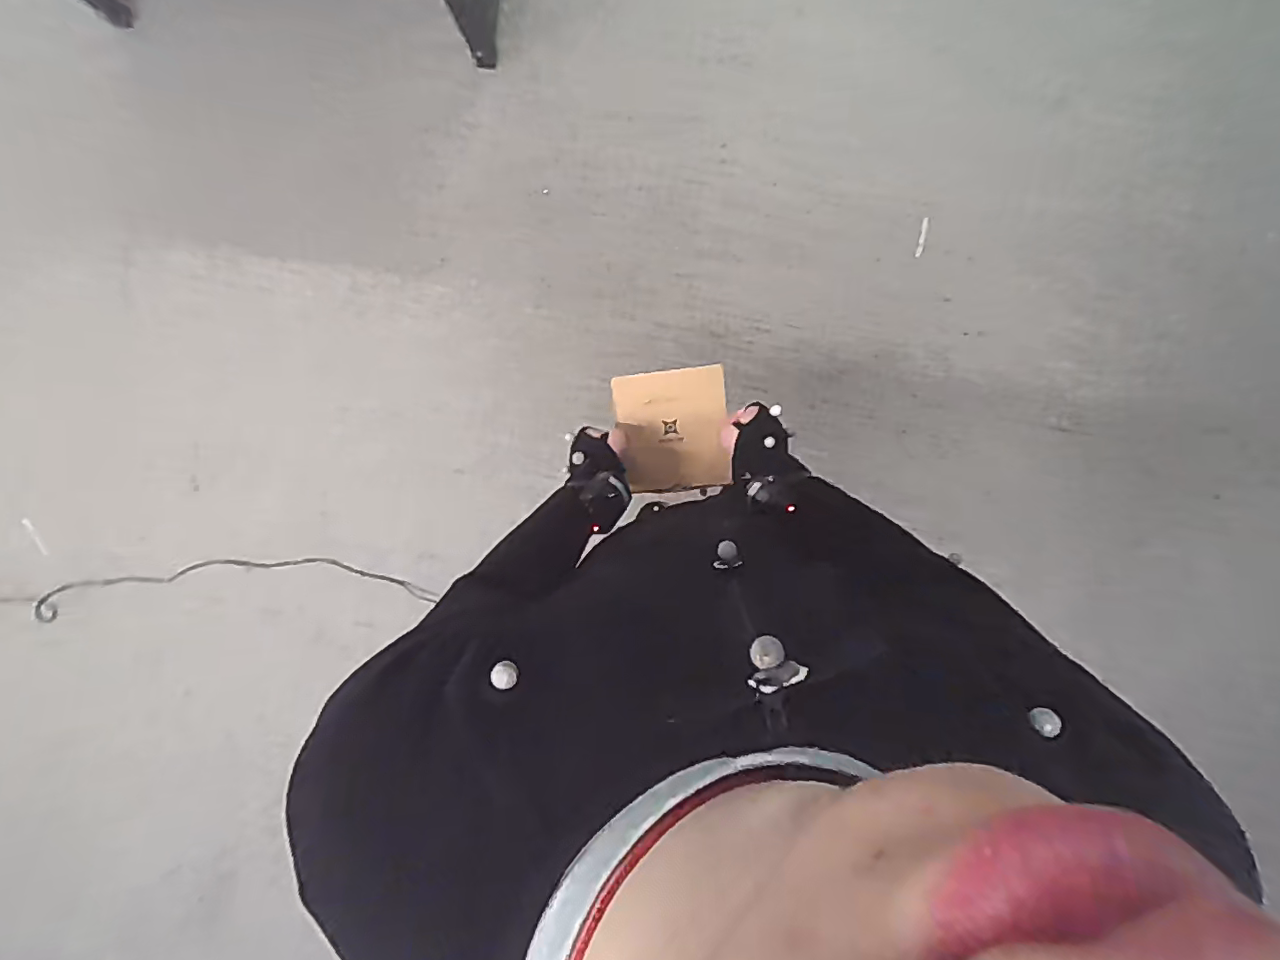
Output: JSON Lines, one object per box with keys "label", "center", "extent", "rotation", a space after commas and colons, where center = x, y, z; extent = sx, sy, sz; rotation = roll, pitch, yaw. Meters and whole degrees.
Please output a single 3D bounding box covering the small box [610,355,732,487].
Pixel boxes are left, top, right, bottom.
{"label": "small box", "center": [0.056, -0.086, 0.857], "extent": [0.168, 0.176, 0.179], "rotation": [-6, 90, 7]}
